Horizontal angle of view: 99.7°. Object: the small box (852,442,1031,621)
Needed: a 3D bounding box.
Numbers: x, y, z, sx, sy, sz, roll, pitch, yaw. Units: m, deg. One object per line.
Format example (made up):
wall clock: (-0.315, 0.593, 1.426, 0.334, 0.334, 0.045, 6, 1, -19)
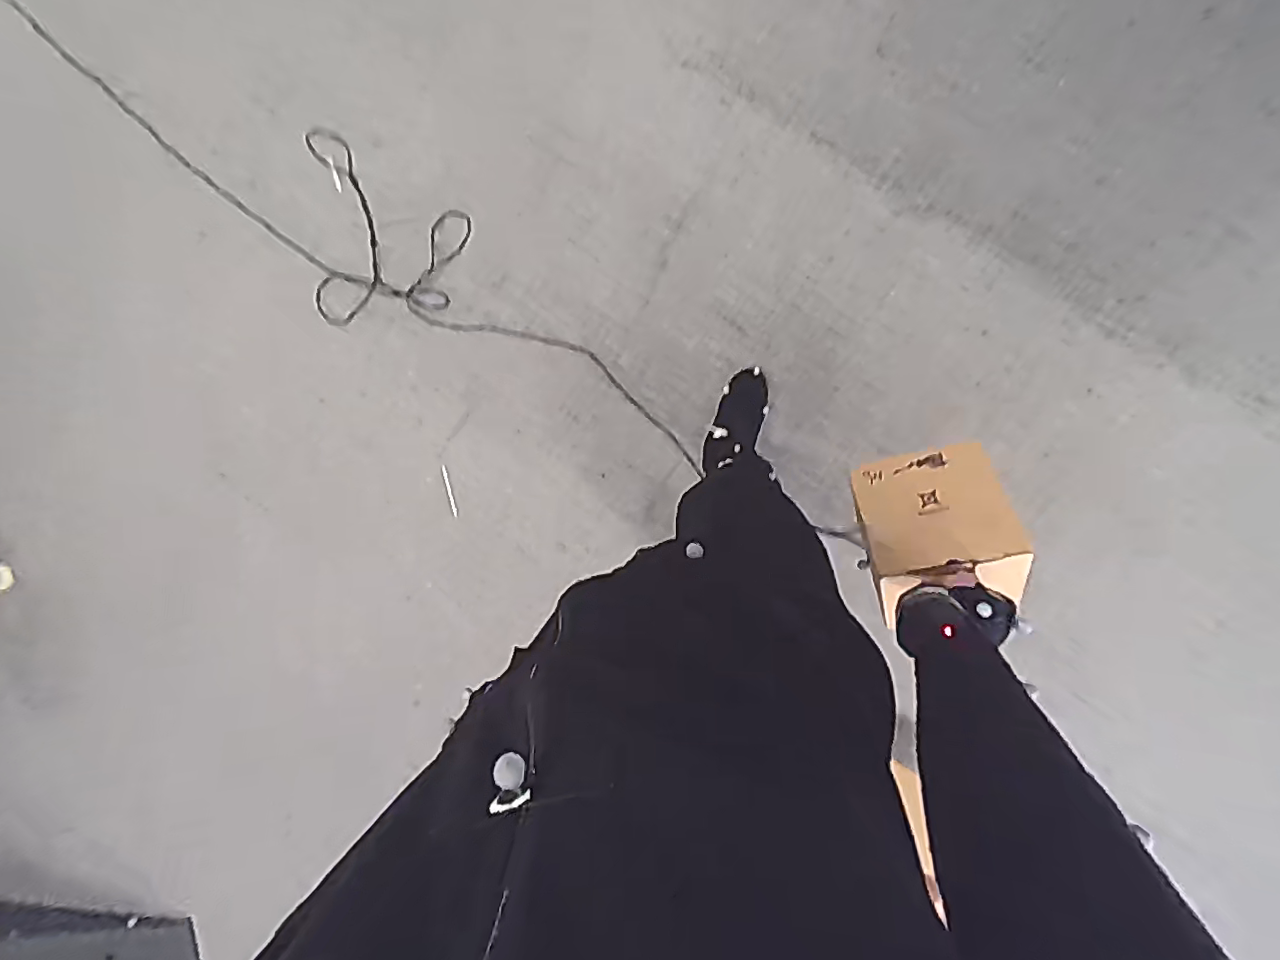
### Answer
small box: (0.400, 0.081, 0.737, 0.168, 0.176, 0.179, -13, 49, 19)
